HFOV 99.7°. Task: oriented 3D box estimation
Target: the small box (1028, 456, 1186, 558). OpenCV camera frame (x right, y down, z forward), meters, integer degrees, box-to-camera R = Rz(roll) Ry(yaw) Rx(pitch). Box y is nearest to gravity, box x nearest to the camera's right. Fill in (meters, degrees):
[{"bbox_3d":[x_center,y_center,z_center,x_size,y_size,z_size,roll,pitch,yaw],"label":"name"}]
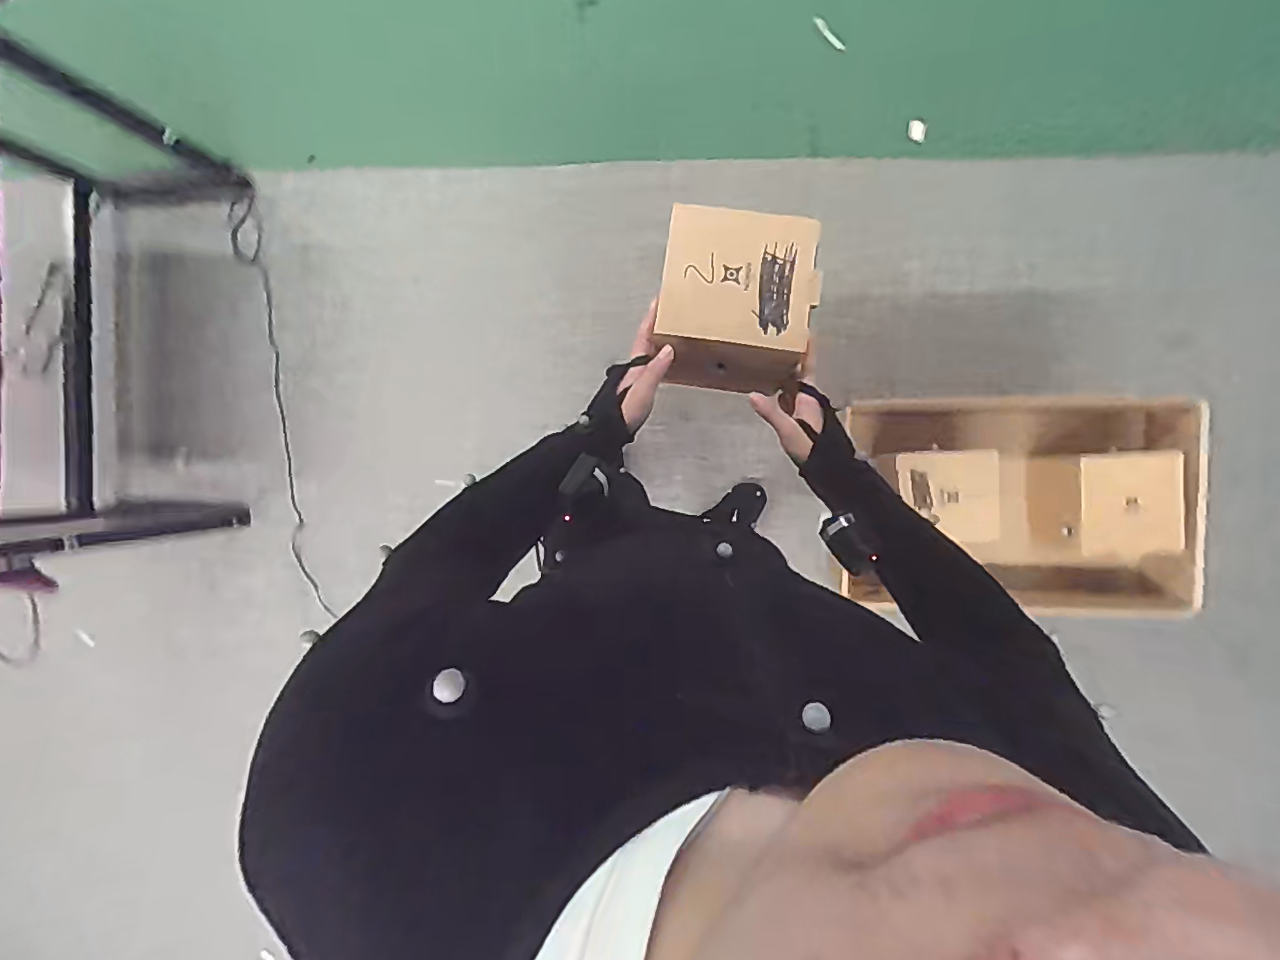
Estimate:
[{"bbox_3d":[0.865,0.045,1.018,0.168,0.176,0.179,-3,93,7],"label":"small box"}]
